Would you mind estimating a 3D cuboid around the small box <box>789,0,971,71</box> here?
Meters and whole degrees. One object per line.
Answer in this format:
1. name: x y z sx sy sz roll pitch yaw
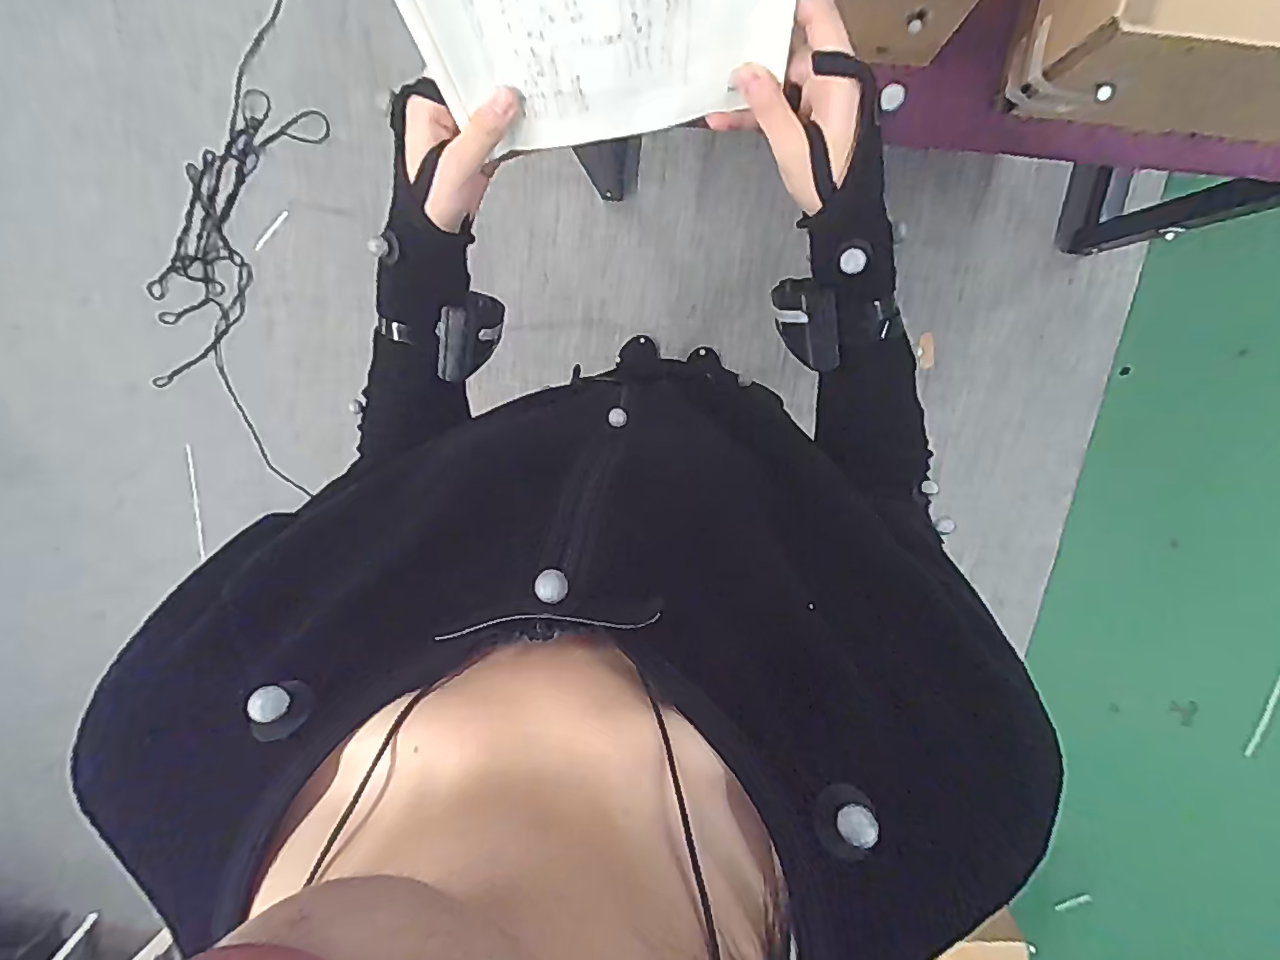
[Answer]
1. small box: 0.255 -0.551 0.540 0.168 0.176 0.179 9 102 3
